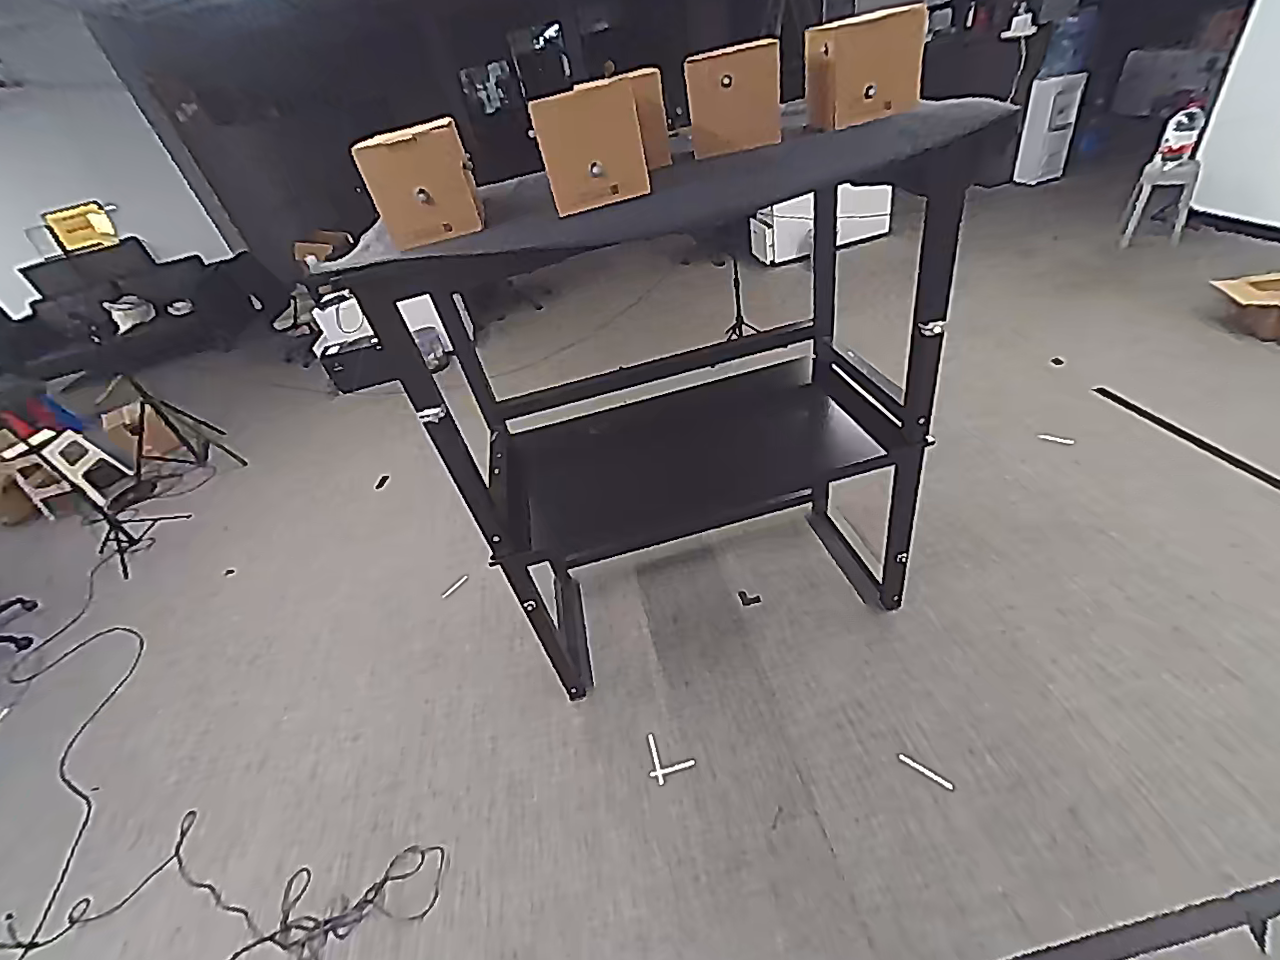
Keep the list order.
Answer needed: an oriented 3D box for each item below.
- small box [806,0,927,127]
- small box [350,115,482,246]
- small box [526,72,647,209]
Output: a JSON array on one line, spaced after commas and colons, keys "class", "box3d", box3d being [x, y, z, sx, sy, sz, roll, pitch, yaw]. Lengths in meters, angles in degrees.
[{"class": "small box", "box3d": [0.435, -0.818, 1.071, 0.168, 0.176, 0.179, -12, 38, 3]}, {"class": "small box", "box3d": [-0.399, -0.548, 0.997, 0.168, 0.176, 0.179, -16, 39, -4]}, {"class": "small box", "box3d": [-0.091, -0.591, 0.949, 0.168, 0.176, 0.179, -15, 36, 2]}]
